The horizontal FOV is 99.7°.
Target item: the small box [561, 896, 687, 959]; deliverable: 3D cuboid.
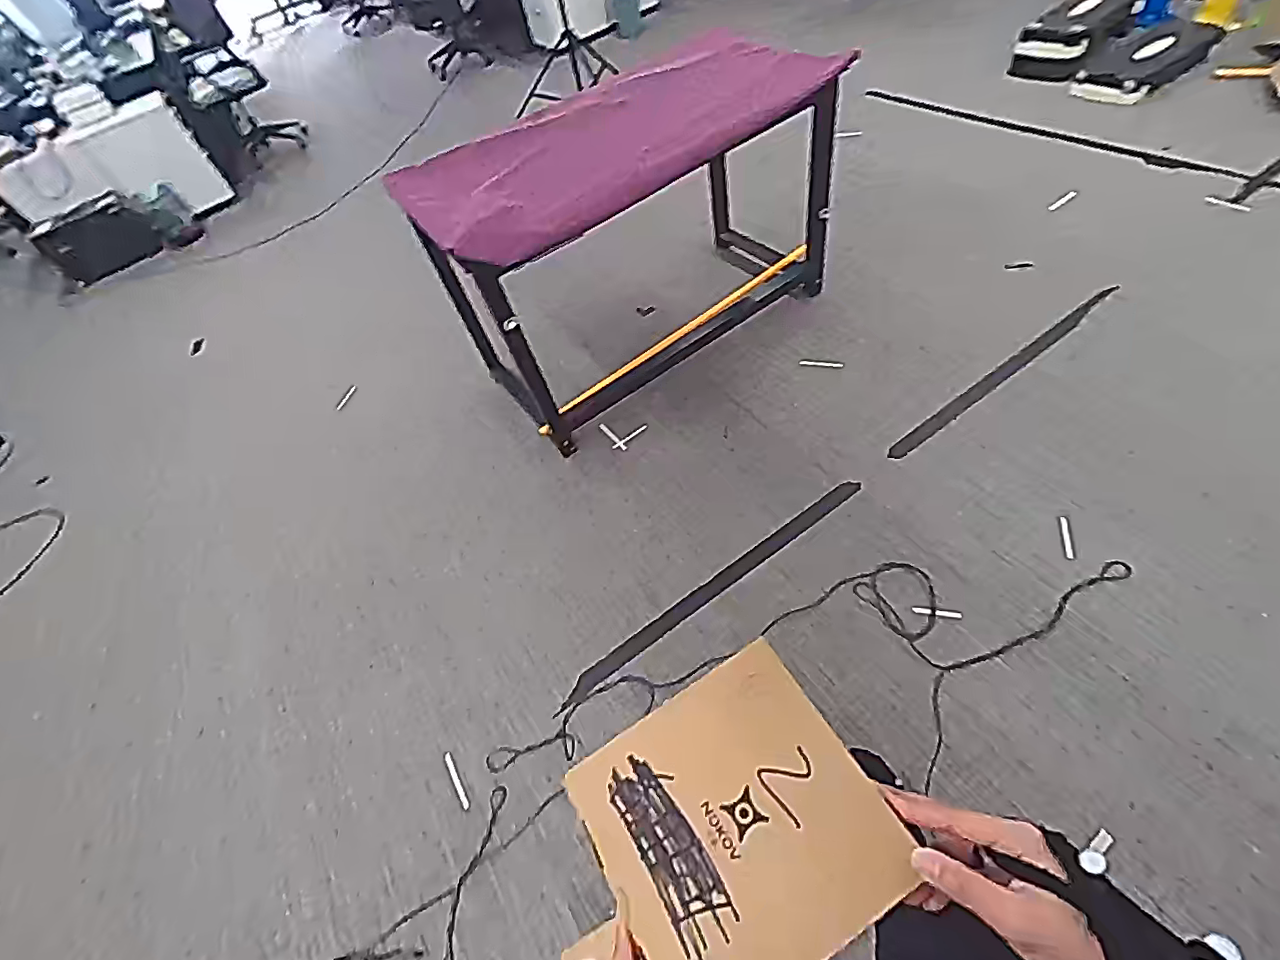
[{"bbox_3d":[-0.013,0.874,0.953,0.179,0.176,0.168,-27,54,-10],"label":"small box"}]
